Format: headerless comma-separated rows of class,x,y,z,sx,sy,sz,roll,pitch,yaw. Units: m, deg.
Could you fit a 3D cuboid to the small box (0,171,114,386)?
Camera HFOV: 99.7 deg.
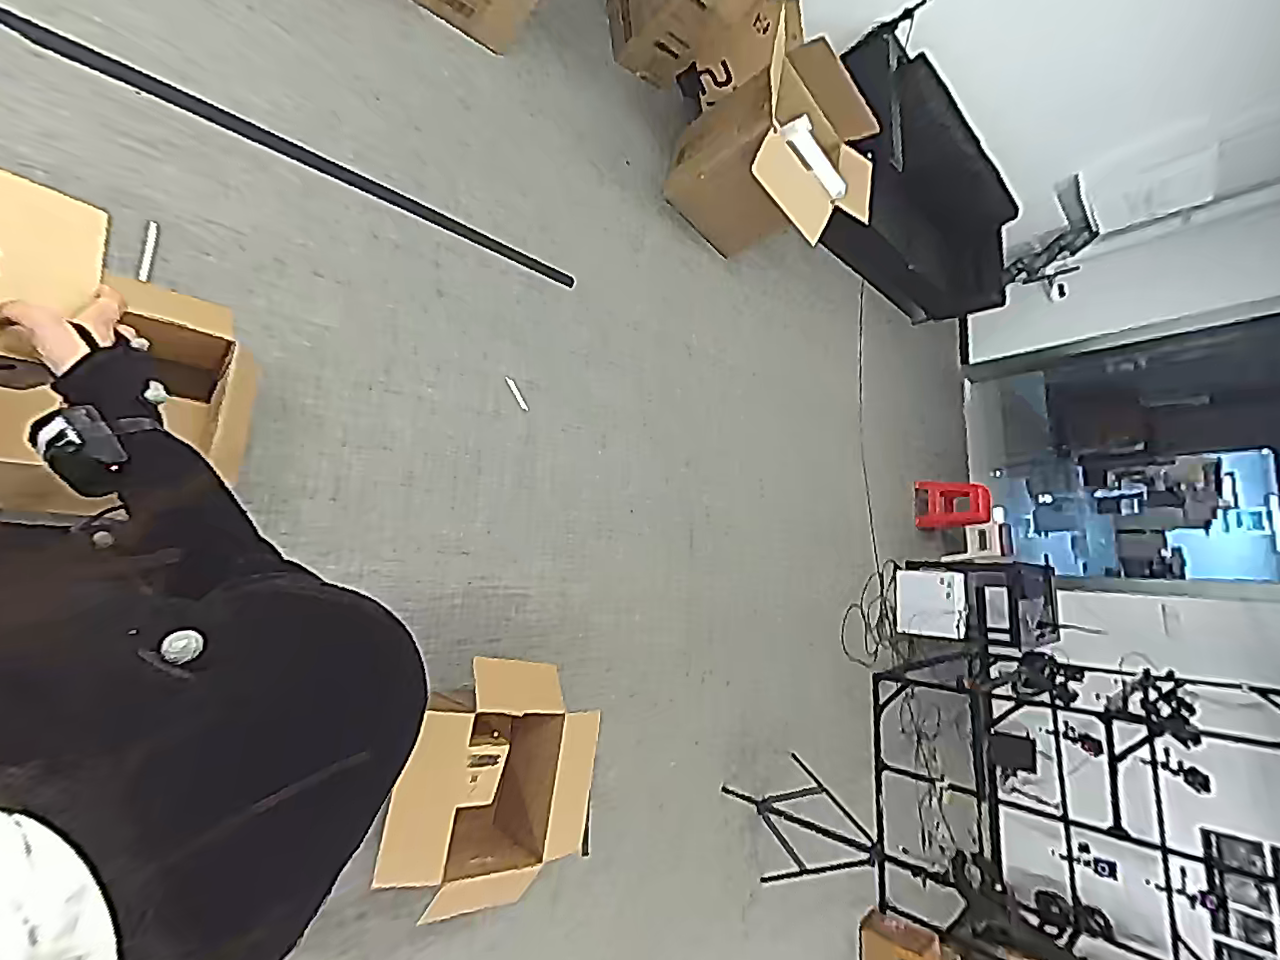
small box,-0.632,-0.186,0.486,0.179,0.176,0.168,11,79,-62
